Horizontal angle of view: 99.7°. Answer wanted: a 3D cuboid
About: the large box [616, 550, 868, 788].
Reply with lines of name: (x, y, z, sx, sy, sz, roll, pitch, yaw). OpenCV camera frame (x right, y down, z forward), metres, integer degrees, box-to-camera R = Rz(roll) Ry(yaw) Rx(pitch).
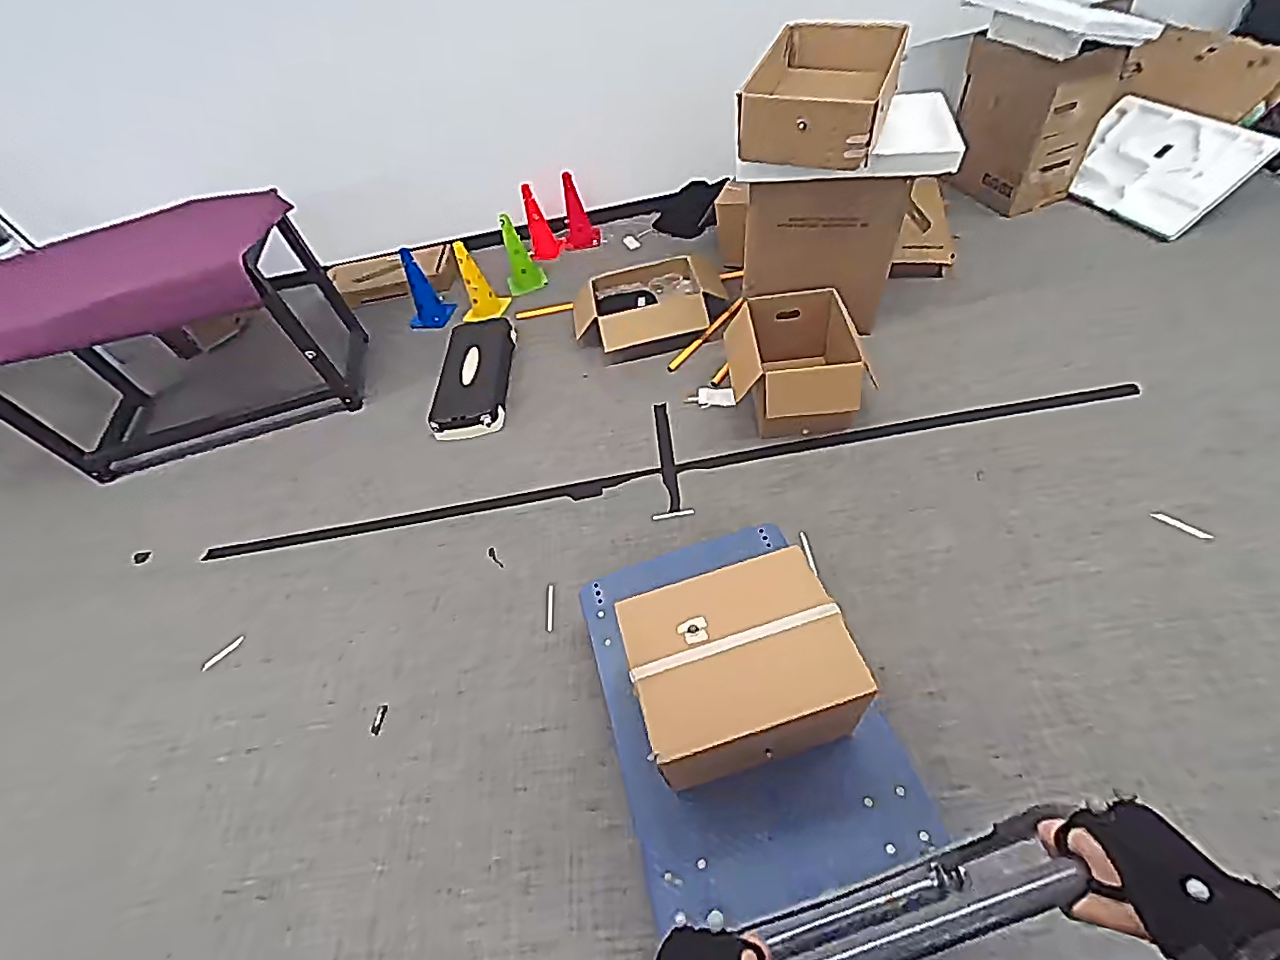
large box: (0.203, 0.408, 1.151, 0.408, 0.320, 0.320, -18, 50, -2)
